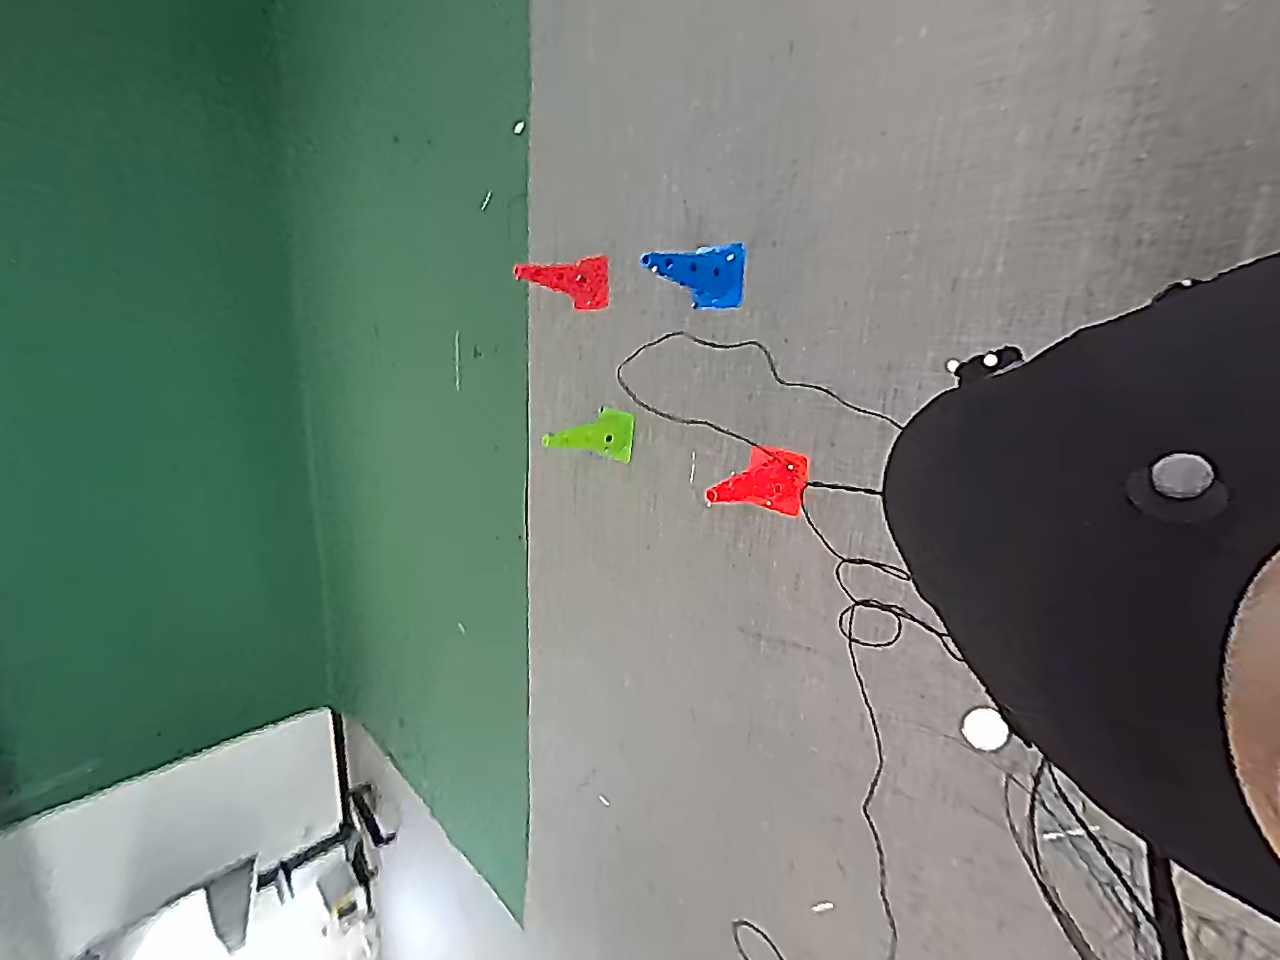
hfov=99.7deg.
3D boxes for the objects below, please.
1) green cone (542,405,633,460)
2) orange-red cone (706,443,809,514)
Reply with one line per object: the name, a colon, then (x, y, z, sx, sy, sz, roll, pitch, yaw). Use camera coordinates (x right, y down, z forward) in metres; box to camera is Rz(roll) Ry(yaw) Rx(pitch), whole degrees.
green cone: (-0.221, -0.169, 2.062, 0.202, 0.368, 0.200, 17, 109, 39)
orange-red cone: (0.313, 0.011, 1.596, 0.199, 0.360, 0.198, 21, 110, 41)
